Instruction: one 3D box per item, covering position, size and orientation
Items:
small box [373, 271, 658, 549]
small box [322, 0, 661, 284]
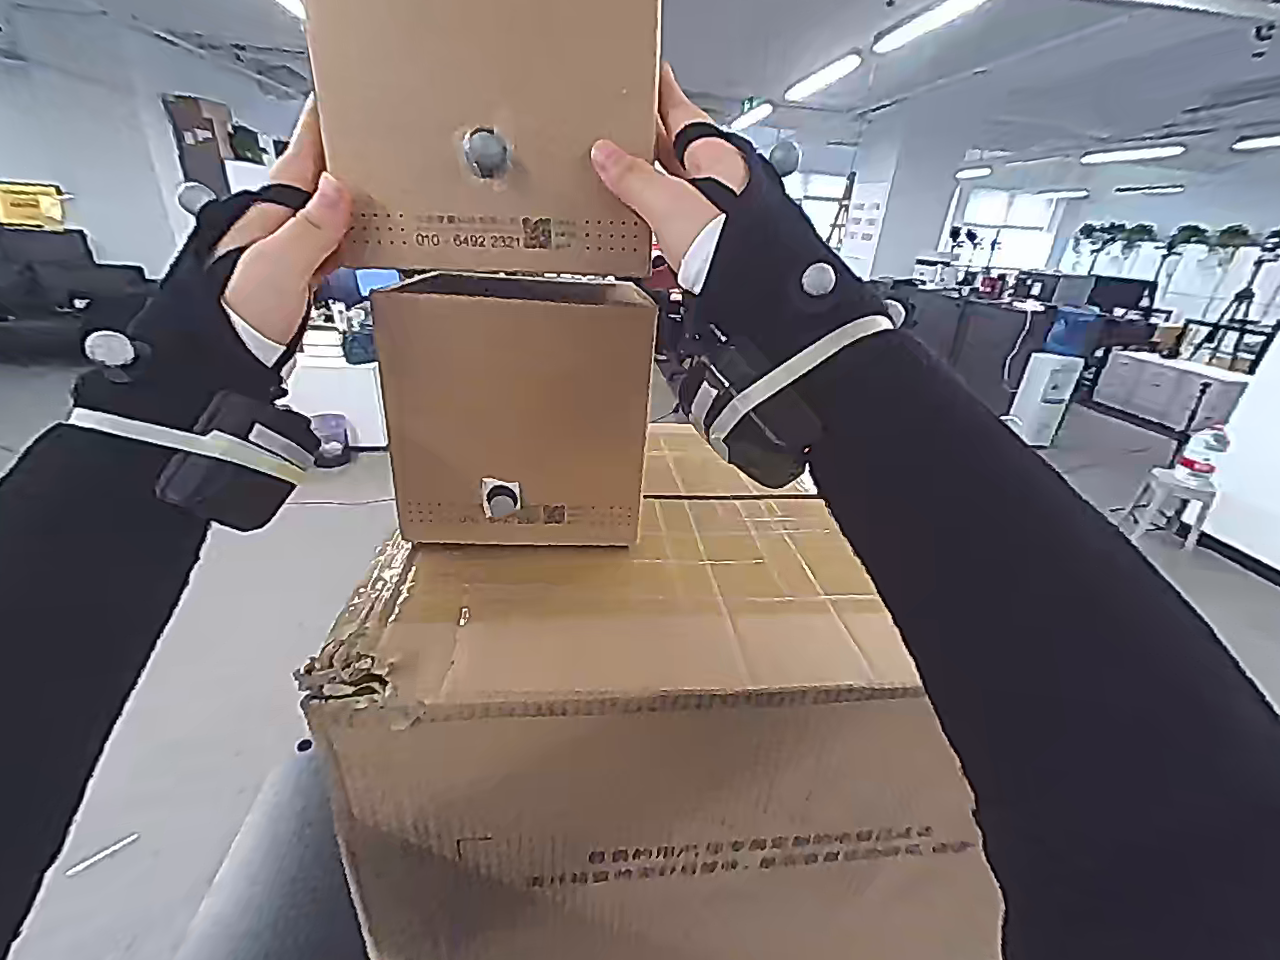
[{"bbox_3d":[-0.084,-0.062,0.418,0.168,0.176,0.179,0,25,-7],"label":"small box"},{"bbox_3d":[-0.077,-0.218,0.340,0.168,0.176,0.179,0,21,-3],"label":"small box"}]
